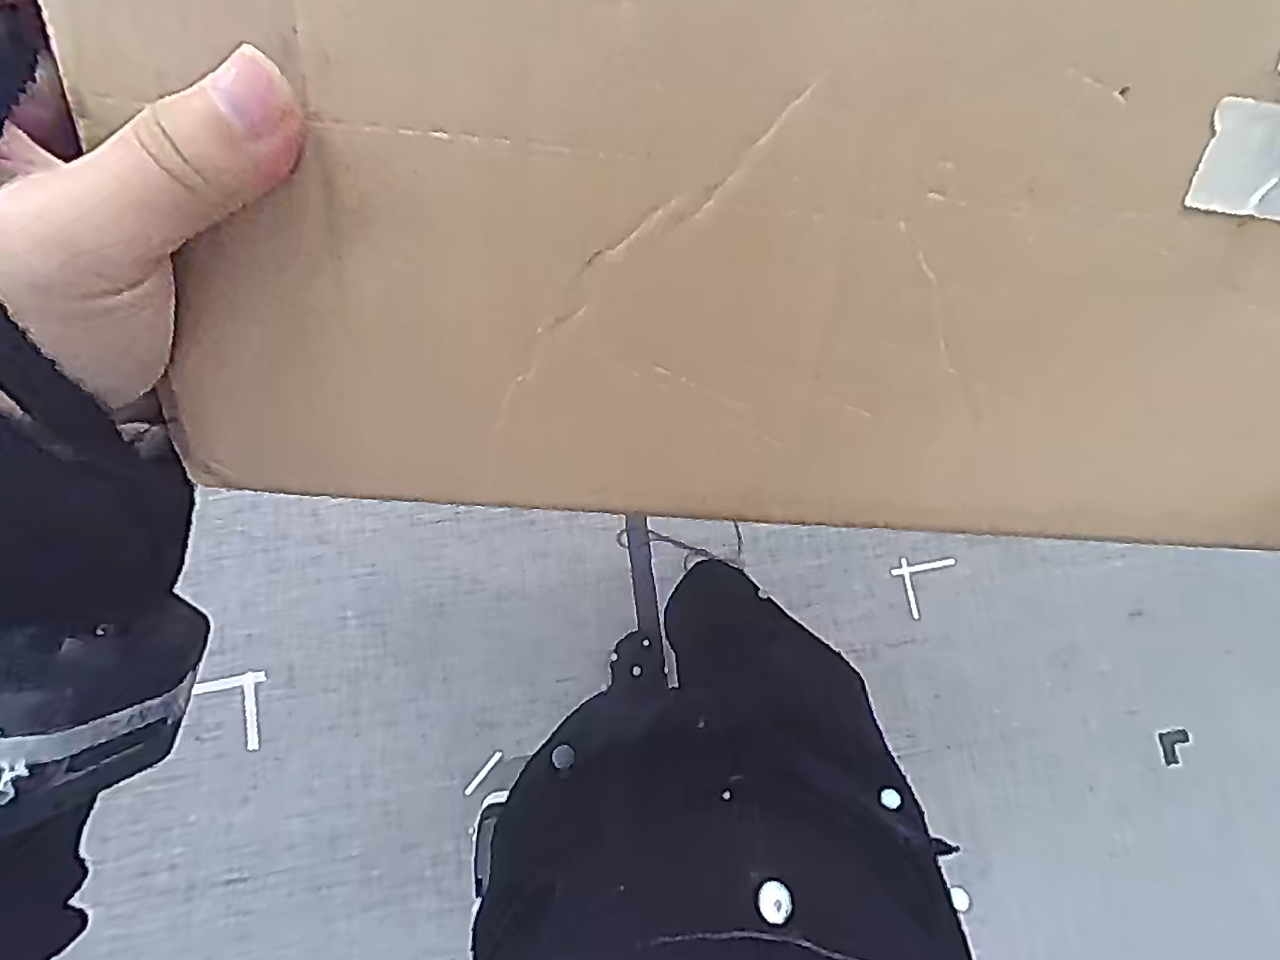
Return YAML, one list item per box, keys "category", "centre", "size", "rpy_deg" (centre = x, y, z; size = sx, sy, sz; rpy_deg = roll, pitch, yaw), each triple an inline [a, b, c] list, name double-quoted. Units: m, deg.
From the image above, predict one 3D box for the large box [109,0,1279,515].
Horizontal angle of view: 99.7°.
- category: "large box"
  centre: [0.080, -0.191, 0.248]
  size: [0.408, 0.320, 0.320]
  rpy_deg: [2, 115, -4]
